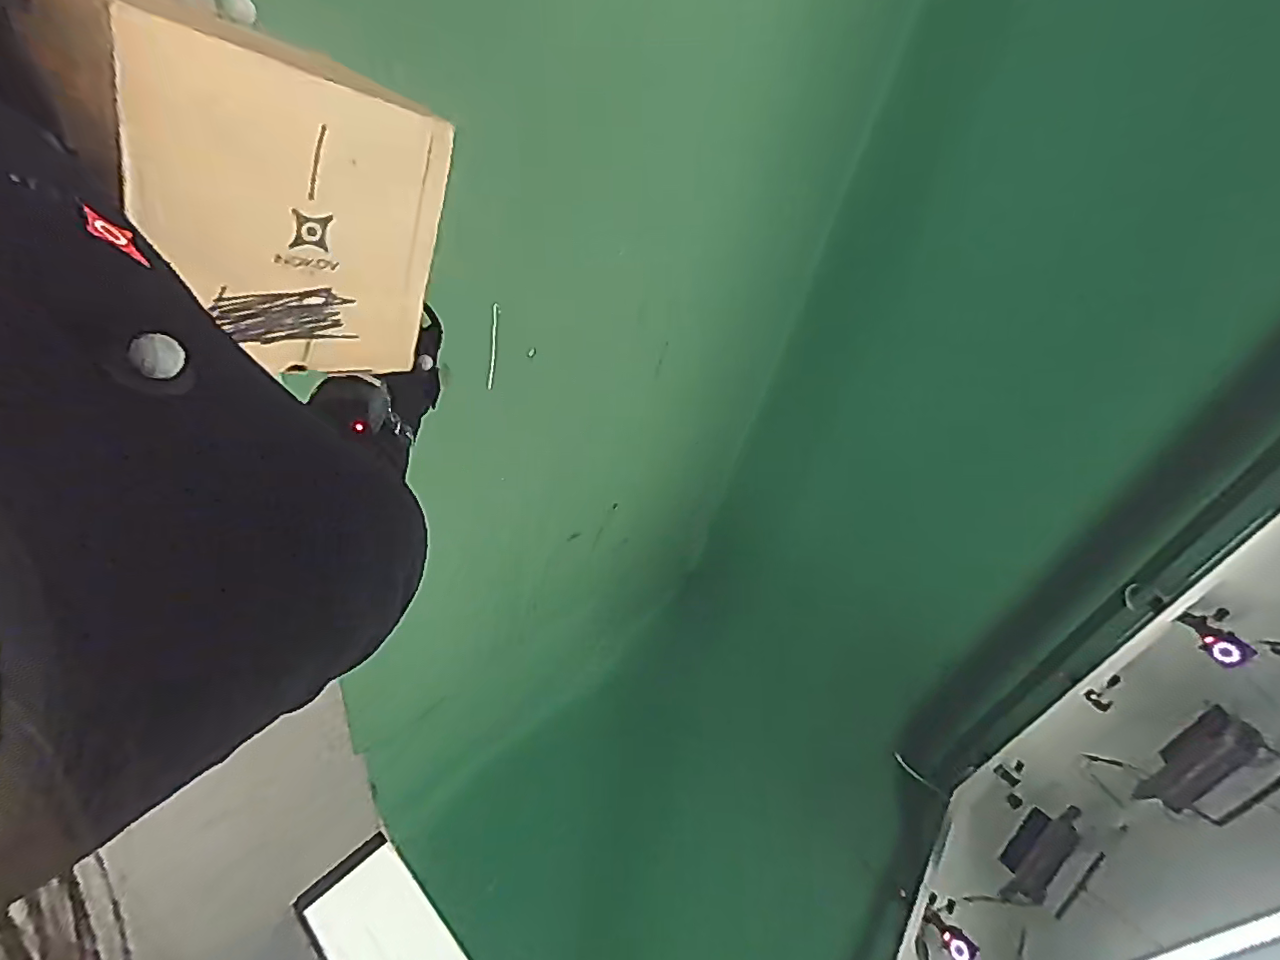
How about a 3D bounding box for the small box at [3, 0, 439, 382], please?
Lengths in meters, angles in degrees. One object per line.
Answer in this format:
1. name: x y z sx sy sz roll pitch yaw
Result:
1. small box: -0.268 -0.183 0.355 0.168 0.176 0.179 -17 140 -54
